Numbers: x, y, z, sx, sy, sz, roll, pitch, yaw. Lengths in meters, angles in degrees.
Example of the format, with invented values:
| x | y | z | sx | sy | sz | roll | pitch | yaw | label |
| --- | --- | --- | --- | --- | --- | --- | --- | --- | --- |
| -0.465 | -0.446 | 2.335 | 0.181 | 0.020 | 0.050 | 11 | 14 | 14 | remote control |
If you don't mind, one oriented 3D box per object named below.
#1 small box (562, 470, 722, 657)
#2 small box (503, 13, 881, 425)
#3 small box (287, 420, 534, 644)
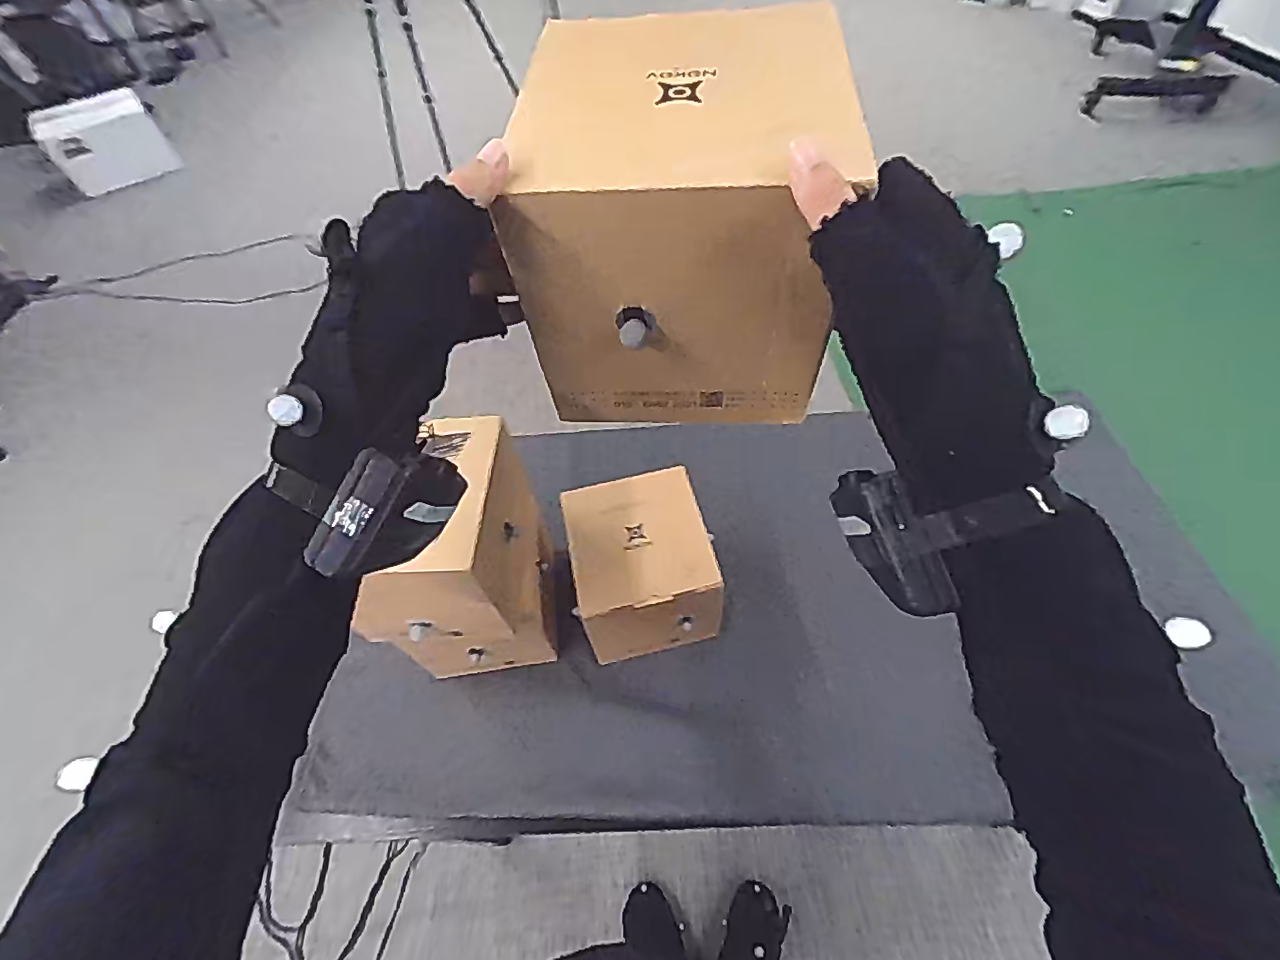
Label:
| x | y | z | sx | sy | sz | roll | pitch | yaw | label |
| --- | --- | --- | --- | --- | --- | --- | --- | --- | --- |
| 0.002 | 0.117 | 0.711 | 0.168 | 0.176 | 0.179 | -12 | 53 | -5 | small box |
| 0.032 | -0.149 | 0.340 | 0.168 | 0.176 | 0.179 | 1 | 58 | 6 | small box |
| -0.214 | 0.057 | 0.566 | 0.168 | 0.176 | 0.179 | -1 | 54 | 3 | small box |
